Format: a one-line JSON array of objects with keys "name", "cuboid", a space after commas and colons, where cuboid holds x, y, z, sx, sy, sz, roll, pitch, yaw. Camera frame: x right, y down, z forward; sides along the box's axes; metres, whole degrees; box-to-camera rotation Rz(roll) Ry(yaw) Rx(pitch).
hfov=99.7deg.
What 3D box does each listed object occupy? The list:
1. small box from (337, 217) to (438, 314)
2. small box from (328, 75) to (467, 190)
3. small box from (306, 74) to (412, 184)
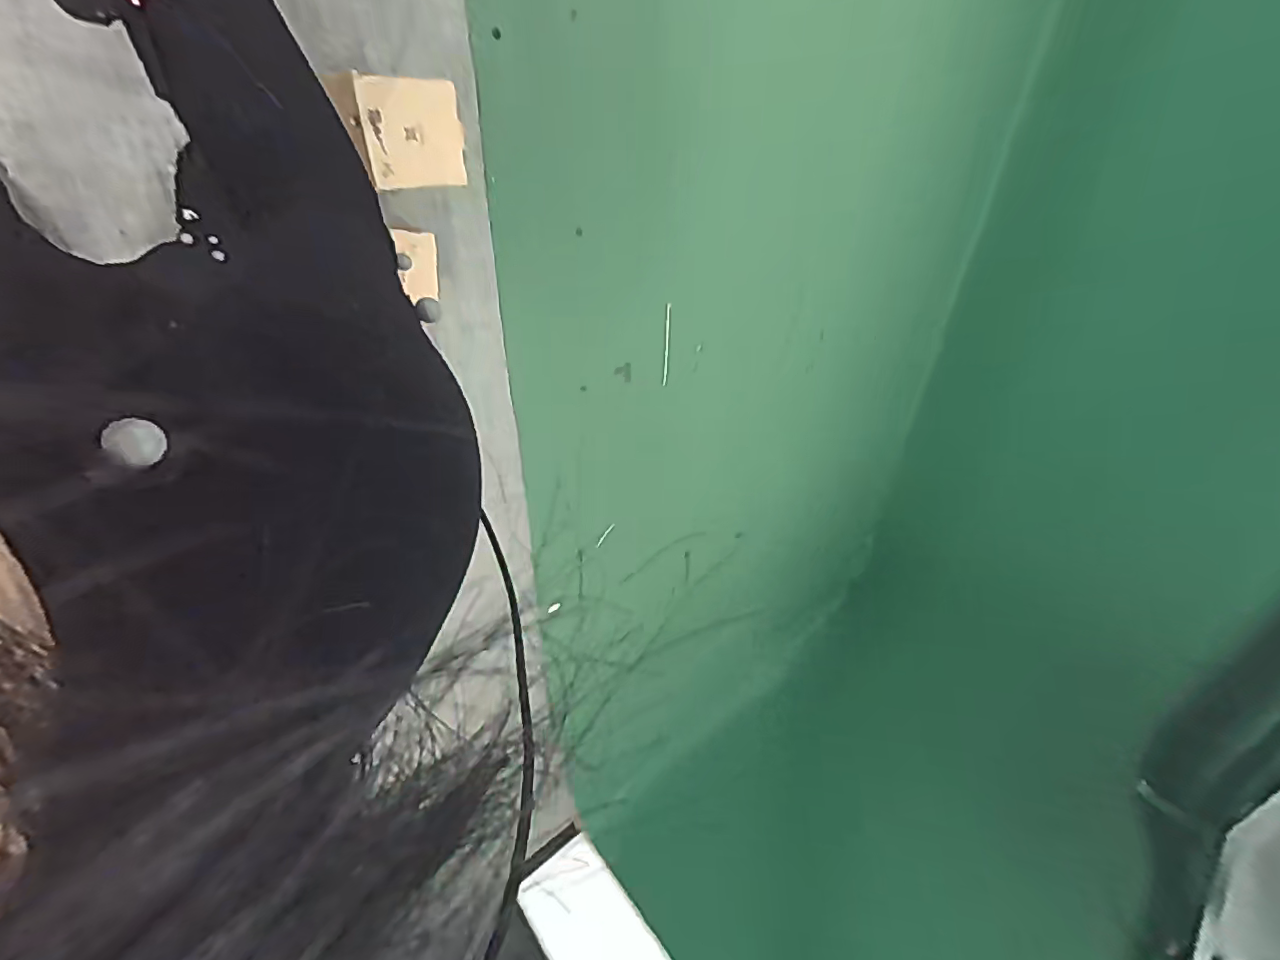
[{"name": "small box", "cuboid": [-0.578, -0.490, 1.241, 0.168, 0.176, 0.179, -15, 126, -37]}, {"name": "small box", "cuboid": [-0.448, -0.645, 1.007, 0.179, 0.176, 0.168, -23, 132, -33]}, {"name": "small box", "cuboid": [-0.555, -0.718, 1.109, 0.168, 0.176, 0.179, -25, 130, -32]}]
